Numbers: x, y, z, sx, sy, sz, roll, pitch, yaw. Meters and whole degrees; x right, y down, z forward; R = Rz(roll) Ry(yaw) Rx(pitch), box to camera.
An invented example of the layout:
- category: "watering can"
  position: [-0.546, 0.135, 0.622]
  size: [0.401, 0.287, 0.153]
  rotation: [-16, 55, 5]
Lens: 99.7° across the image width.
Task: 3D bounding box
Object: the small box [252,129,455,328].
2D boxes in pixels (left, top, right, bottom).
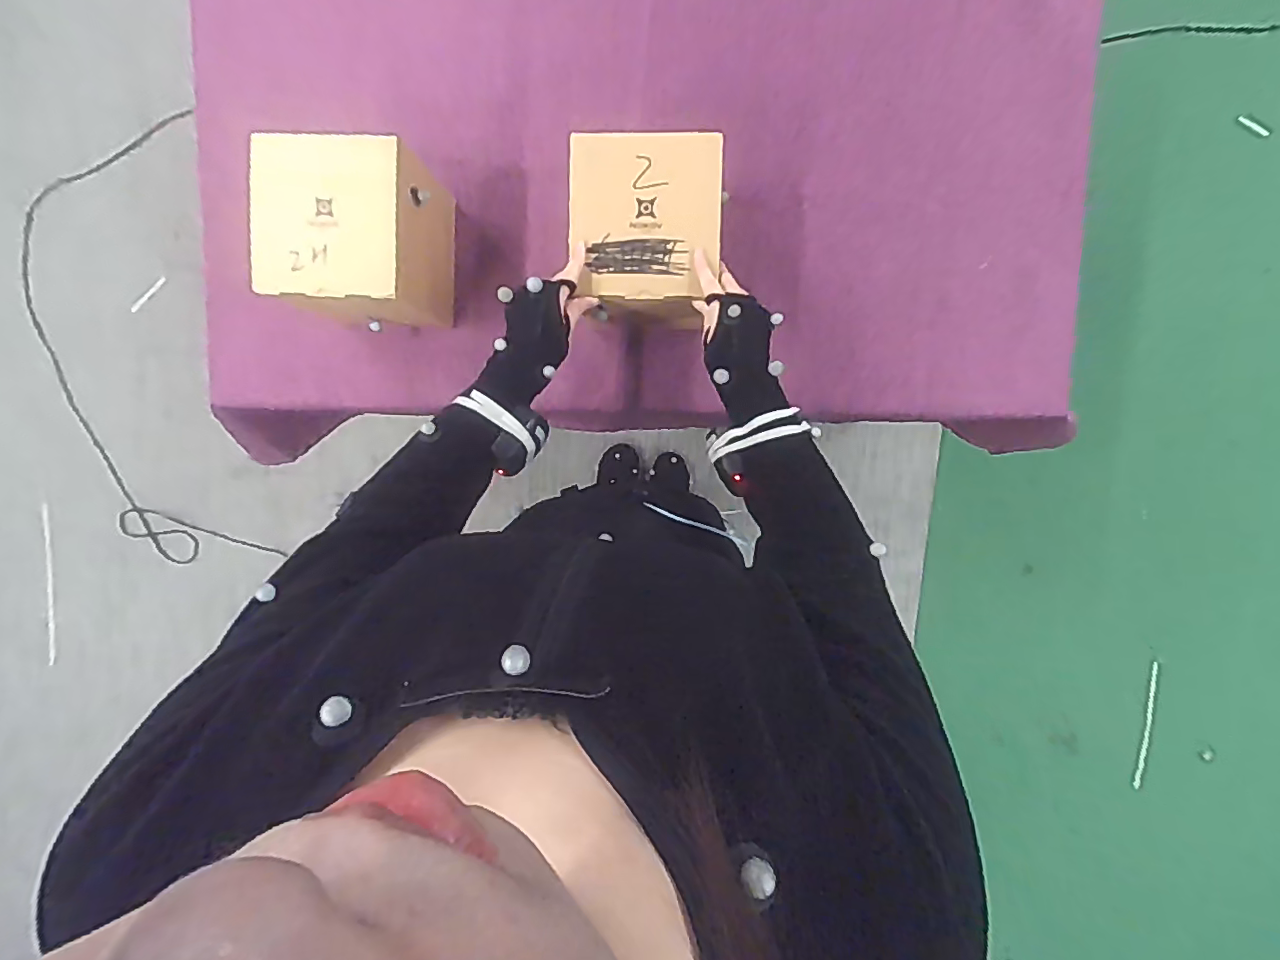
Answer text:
- category: "small box"
  position: [-0.342, -0.298, 0.674]
  size: [0.168, 0.176, 0.179]
  rotation: [3, 94, 2]
